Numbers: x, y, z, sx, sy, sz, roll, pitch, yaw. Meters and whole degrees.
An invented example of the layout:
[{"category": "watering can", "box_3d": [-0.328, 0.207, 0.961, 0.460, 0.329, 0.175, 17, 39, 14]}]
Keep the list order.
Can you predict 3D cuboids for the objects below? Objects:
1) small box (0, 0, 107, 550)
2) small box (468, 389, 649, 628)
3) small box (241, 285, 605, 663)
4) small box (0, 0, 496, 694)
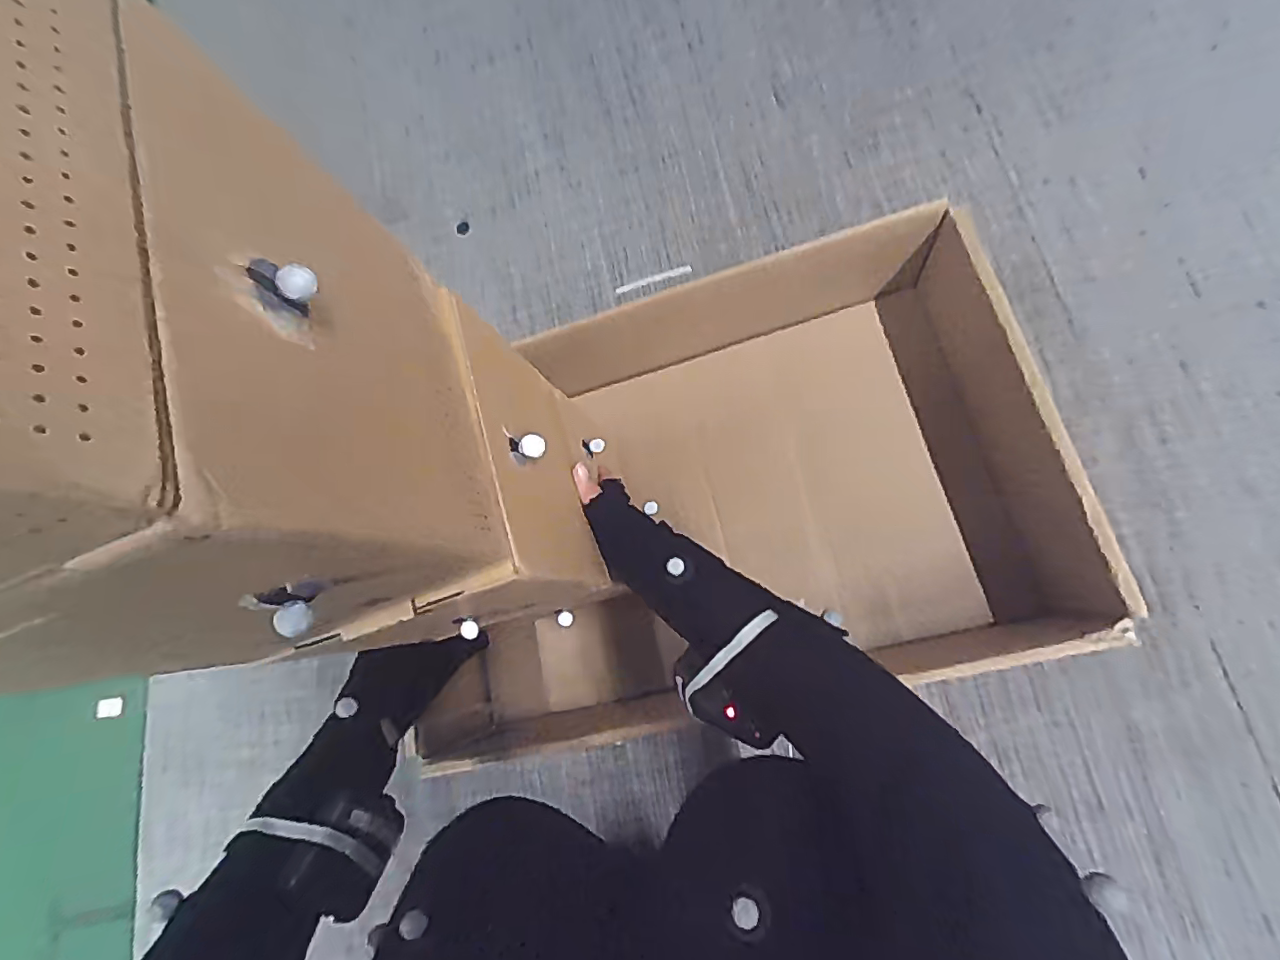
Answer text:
[{"category": "small box", "box_3d": [-0.216, -0.058, 0.059, 0.168, 0.176, 0.179, -21, 77, 7]}, {"category": "small box", "box_3d": [-0.102, 0.040, 0.526, 0.168, 0.176, 0.179, -18, 76, 10]}, {"category": "small box", "box_3d": [-0.139, 0.009, 0.371, 0.168, 0.176, 0.179, -19, 76, 9]}, {"category": "small box", "box_3d": [-0.180, -0.025, 0.216, 0.168, 0.176, 0.179, -21, 75, 8]}]
